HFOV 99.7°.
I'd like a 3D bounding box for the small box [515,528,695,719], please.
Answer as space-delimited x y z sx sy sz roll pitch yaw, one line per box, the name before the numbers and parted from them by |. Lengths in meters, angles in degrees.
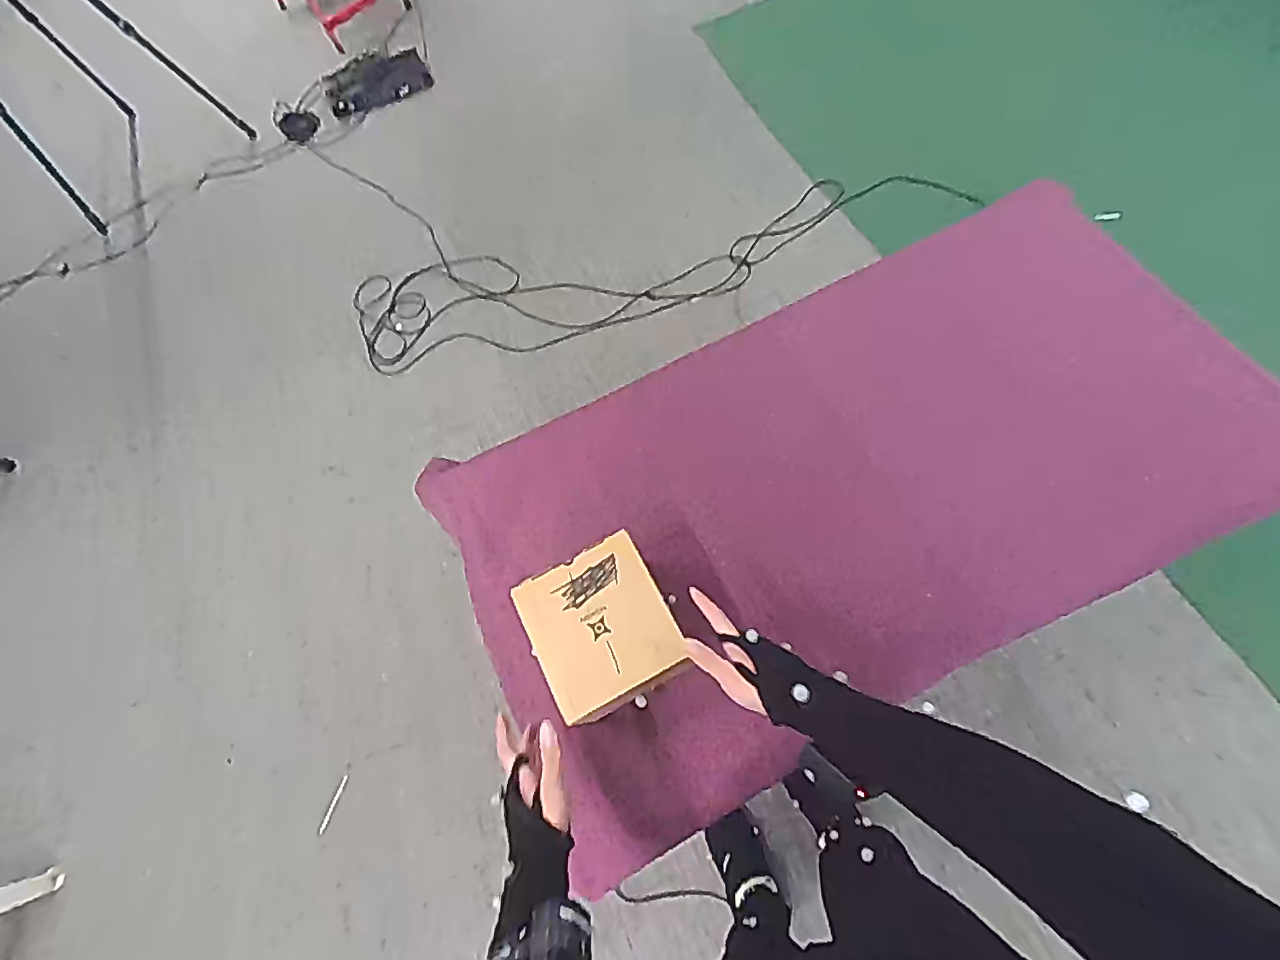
small box | -0.039 0.195 0.715 0.168 0.176 0.179 -28 68 -4
